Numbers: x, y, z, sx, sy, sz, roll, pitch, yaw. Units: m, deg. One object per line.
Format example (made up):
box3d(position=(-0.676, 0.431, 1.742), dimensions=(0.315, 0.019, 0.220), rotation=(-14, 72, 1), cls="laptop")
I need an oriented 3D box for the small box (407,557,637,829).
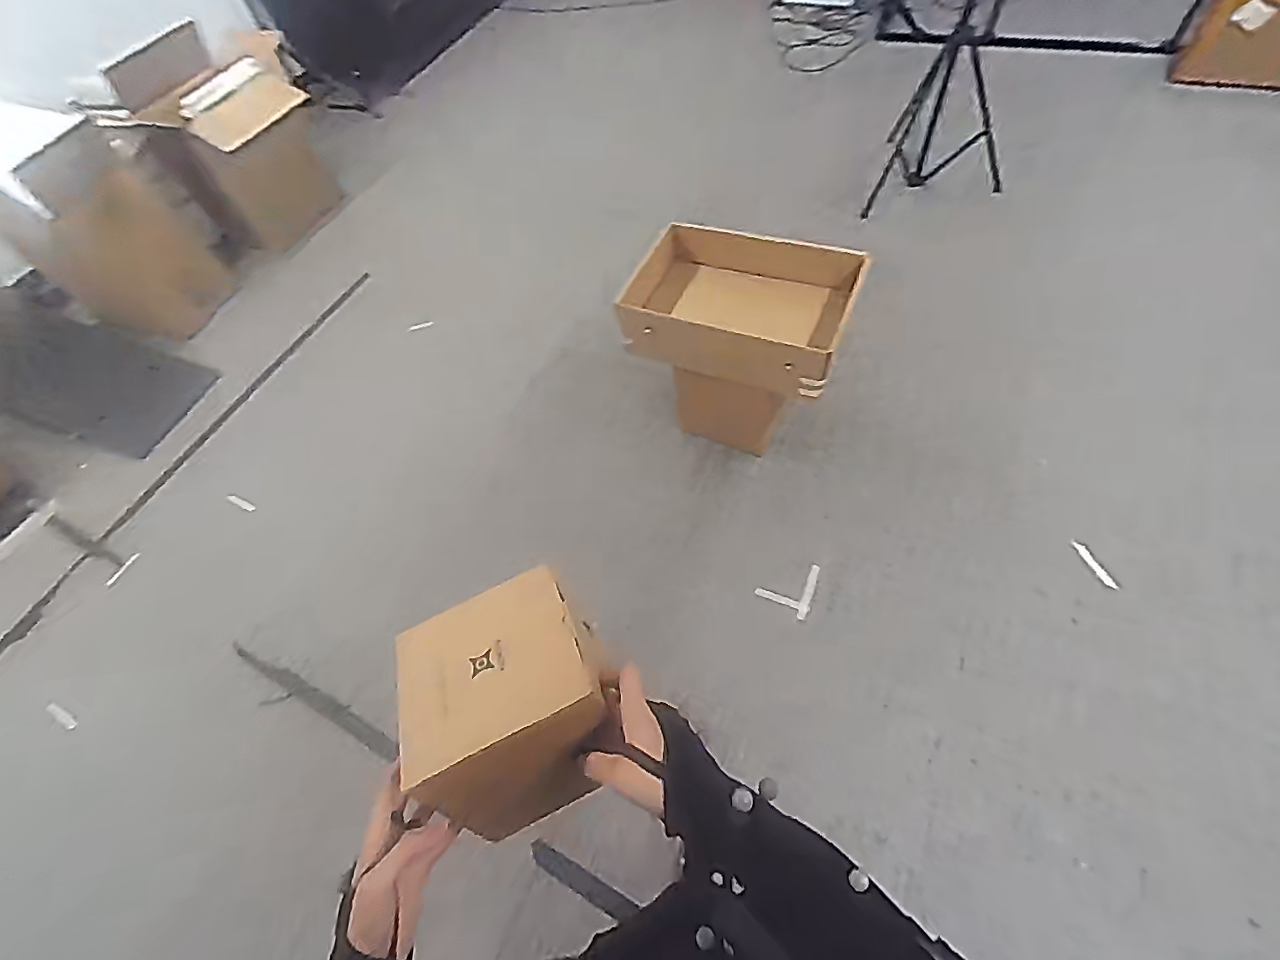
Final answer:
box3d(position=(-0.114, 0.217, 0.555), dimensions=(0.179, 0.176, 0.168), rotation=(-25, 40, -5), cls="small box")
